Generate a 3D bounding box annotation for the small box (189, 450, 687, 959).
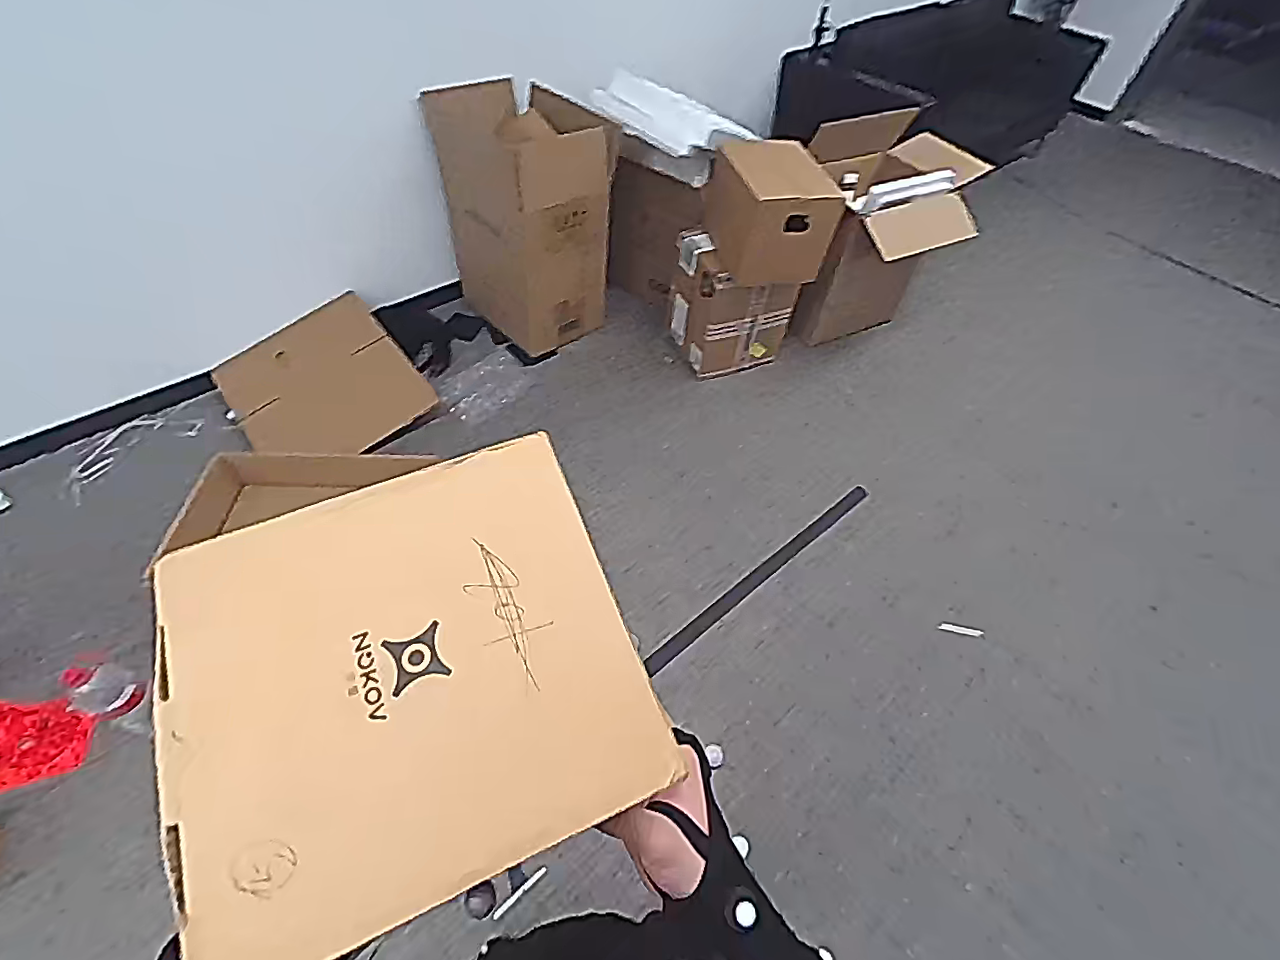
[{"bbox_3d":[-0.094,0.116,0.300,0.179,0.176,0.168,-21,68,-14],"label":"small box"}]
